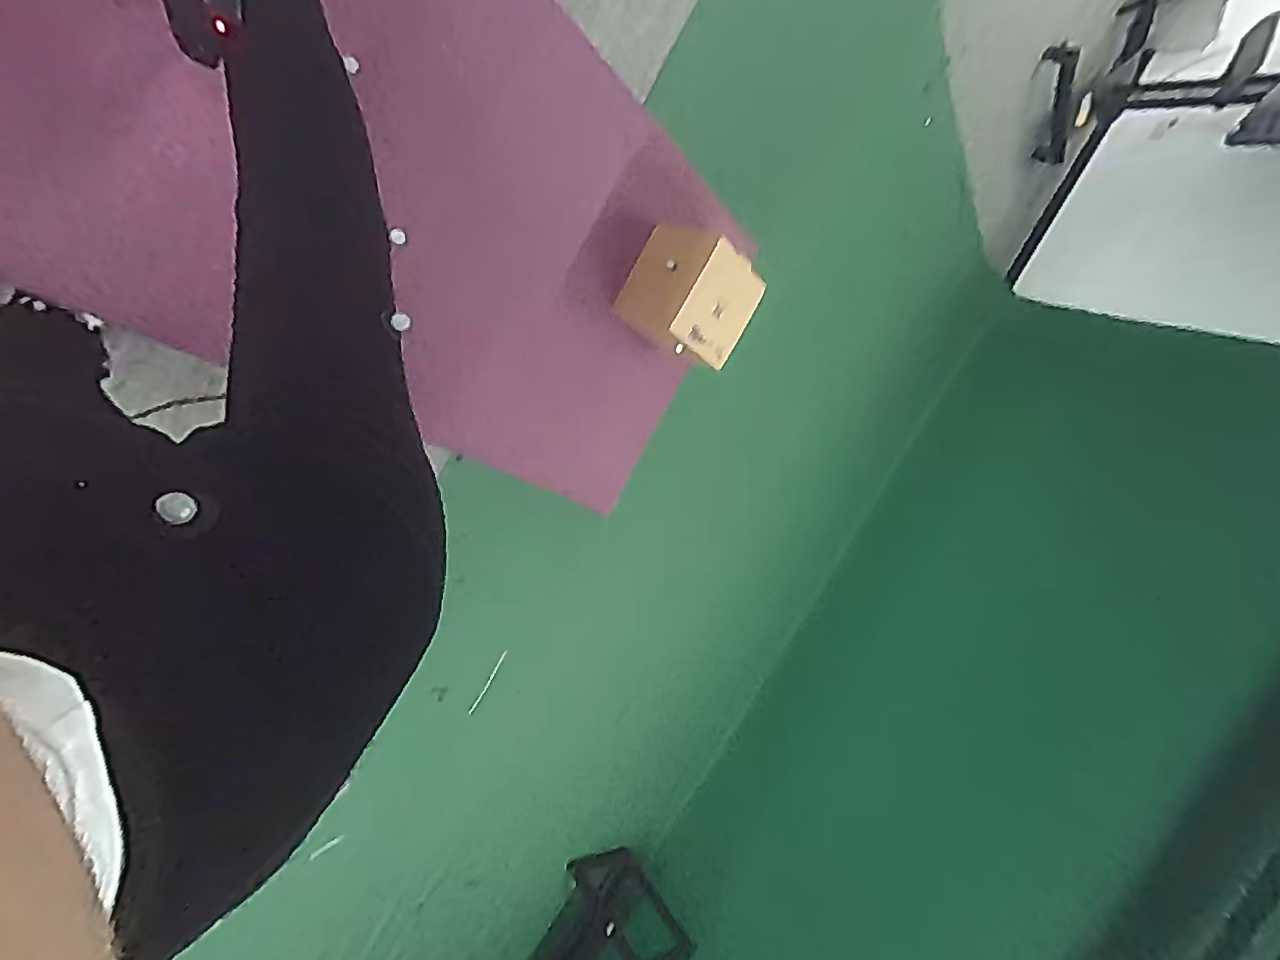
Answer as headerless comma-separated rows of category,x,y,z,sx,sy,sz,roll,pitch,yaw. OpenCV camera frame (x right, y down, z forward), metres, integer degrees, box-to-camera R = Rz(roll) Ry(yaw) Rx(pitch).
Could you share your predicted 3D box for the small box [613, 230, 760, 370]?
small box,0.080,-0.333,0.991,0.168,0.176,0.179,24,96,-47
